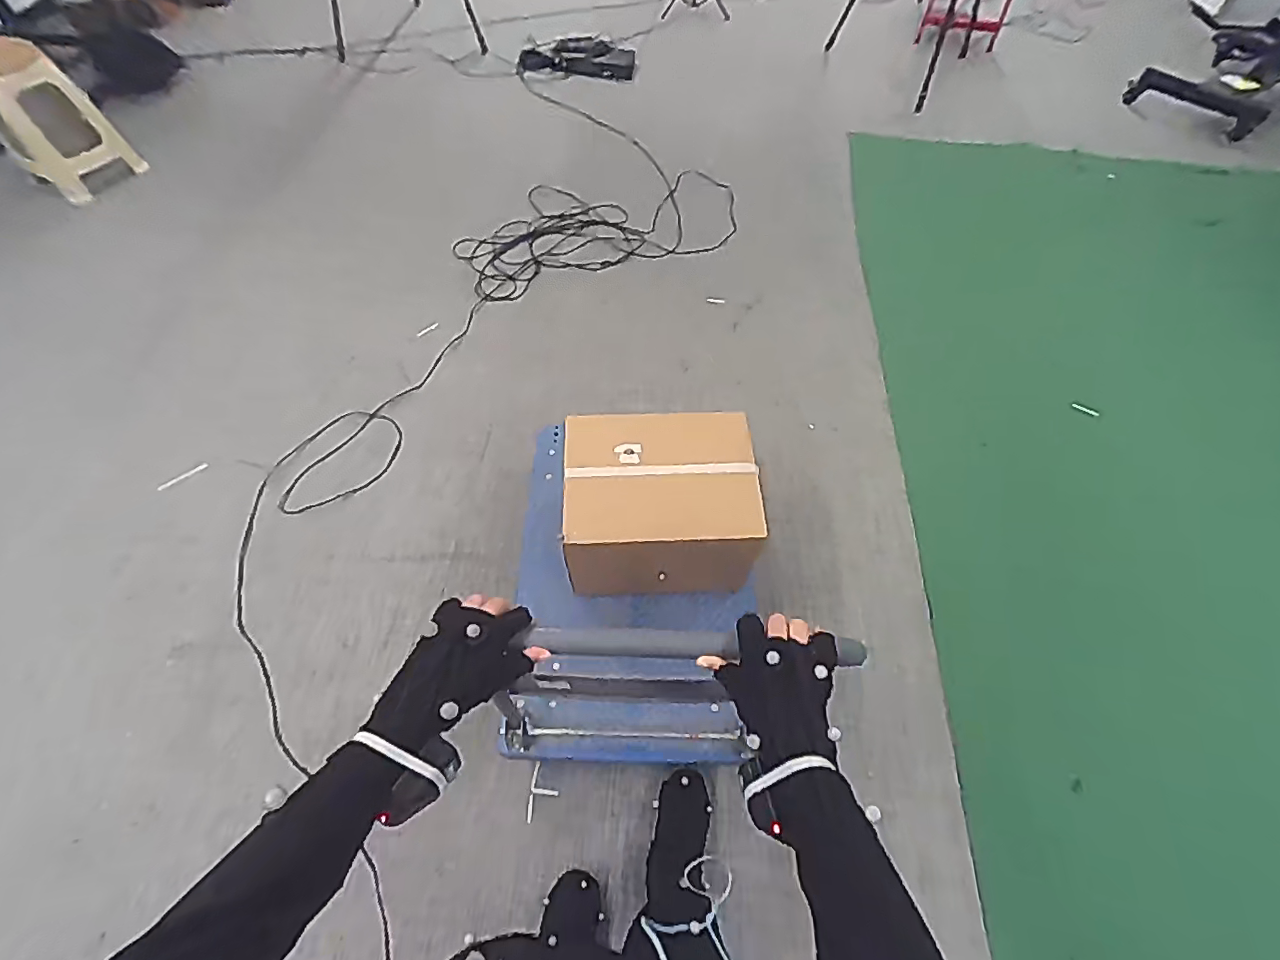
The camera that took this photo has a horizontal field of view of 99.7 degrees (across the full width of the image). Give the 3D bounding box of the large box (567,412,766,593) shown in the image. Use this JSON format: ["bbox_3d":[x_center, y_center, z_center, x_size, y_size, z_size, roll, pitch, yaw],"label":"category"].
[{"bbox_3d":[0.047,0.064,1.275,0.408,0.320,0.320,-3,59,-1],"label":"large box"}]
